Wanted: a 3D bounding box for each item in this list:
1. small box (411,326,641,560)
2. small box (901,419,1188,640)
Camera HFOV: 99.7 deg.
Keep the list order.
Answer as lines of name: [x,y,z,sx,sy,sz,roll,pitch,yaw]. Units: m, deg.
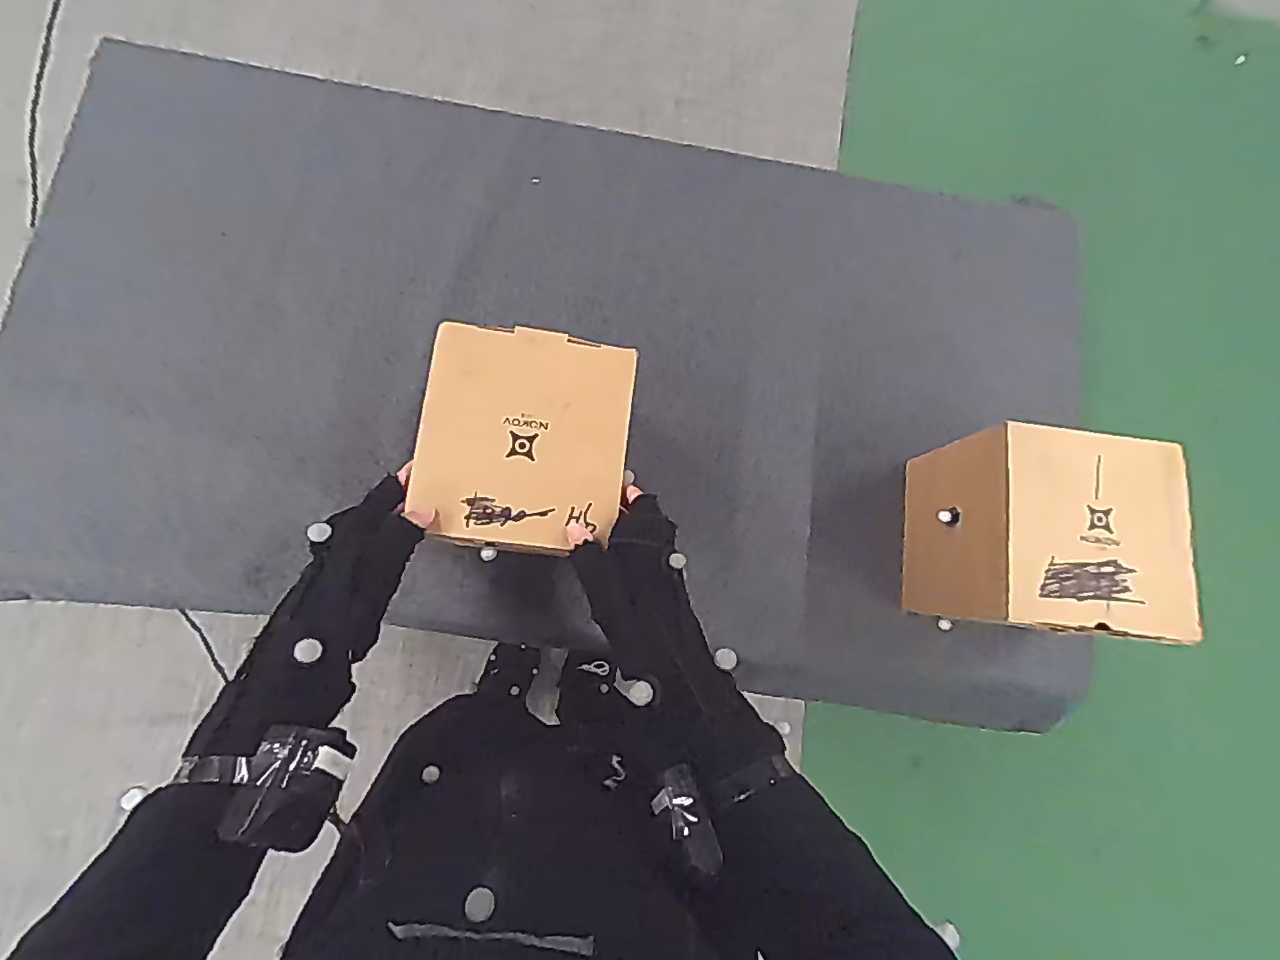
small box: [-0.098,-0.021,0.520,0.168,0.176,0.179,7,80,-4]
small box: [0.386,0.055,0.547,0.168,0.176,0.179,8,78,-2]
